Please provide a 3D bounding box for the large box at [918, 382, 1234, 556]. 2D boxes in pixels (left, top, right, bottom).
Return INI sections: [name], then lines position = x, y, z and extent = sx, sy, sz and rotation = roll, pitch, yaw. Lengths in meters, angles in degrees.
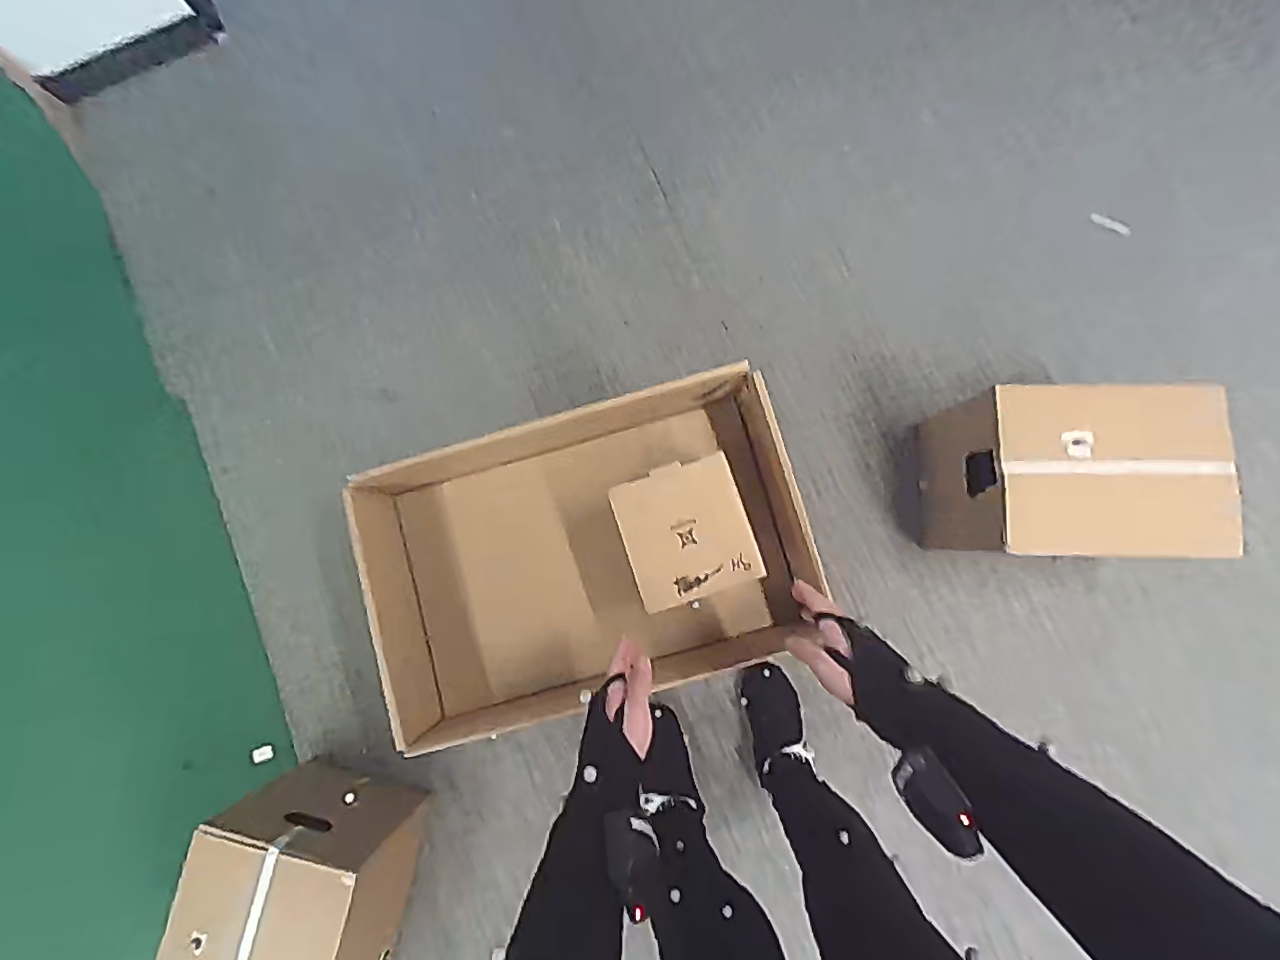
[large box]
position = 0.849, -0.008, 1.114
extent = 0.408, 0.320, 0.320
rotation = 0, 83, 3
